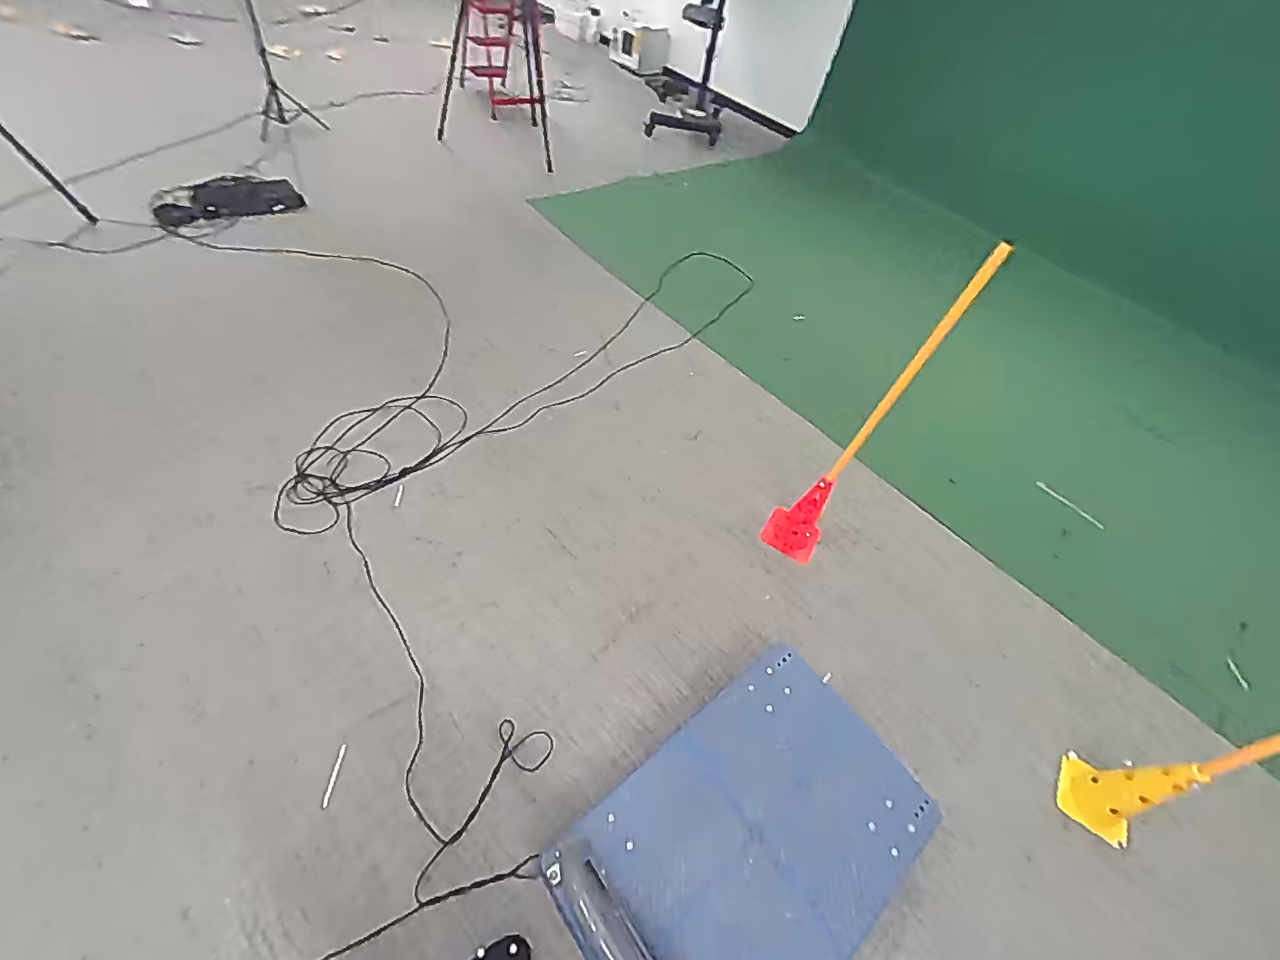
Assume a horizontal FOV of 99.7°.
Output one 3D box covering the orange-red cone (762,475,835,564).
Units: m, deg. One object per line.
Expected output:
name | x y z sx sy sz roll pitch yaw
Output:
orange-red cone | 0.611 0.107 1.955 0.199 0.360 0.198 31 51 15
